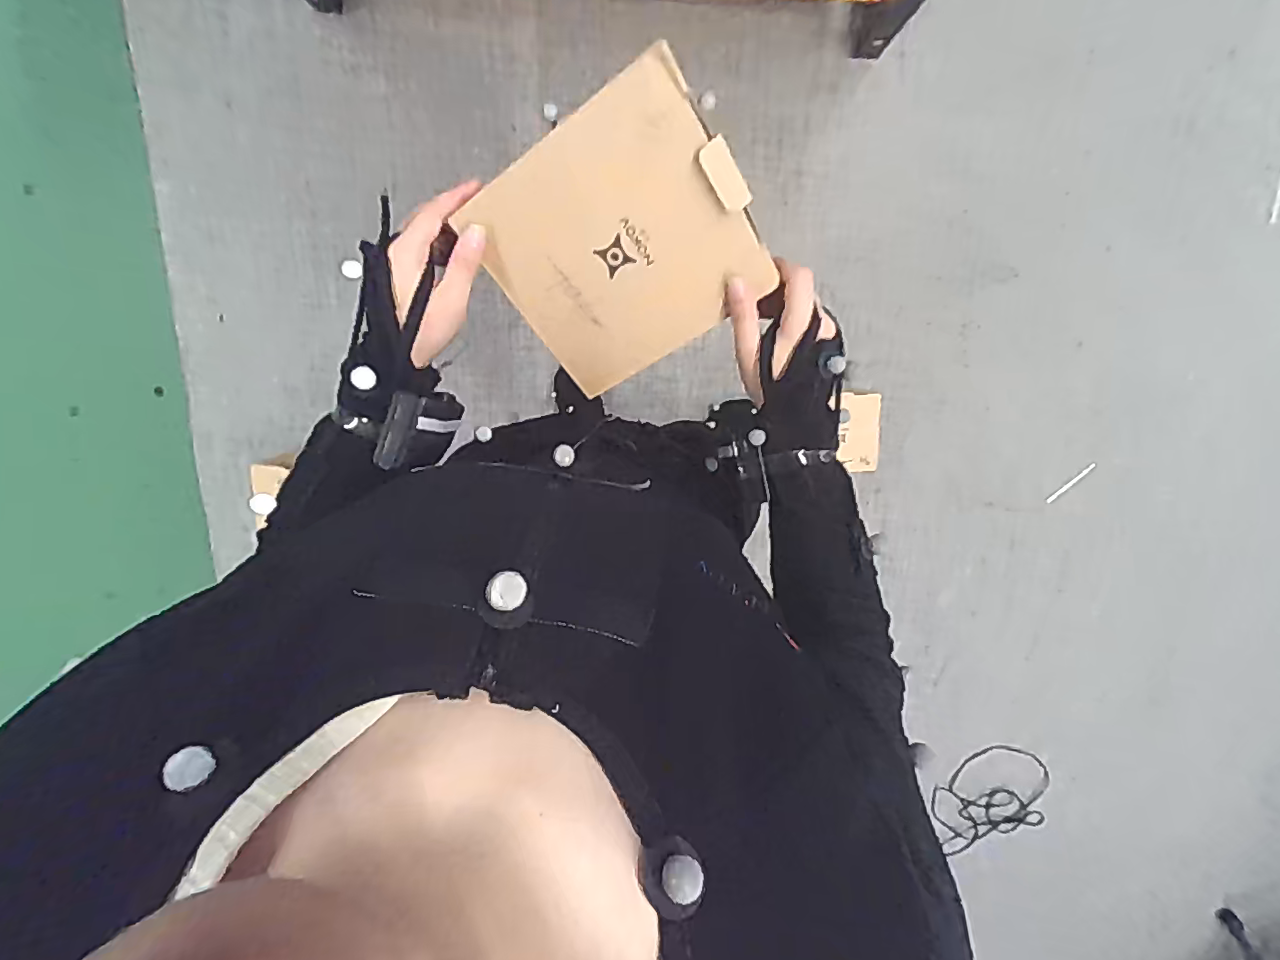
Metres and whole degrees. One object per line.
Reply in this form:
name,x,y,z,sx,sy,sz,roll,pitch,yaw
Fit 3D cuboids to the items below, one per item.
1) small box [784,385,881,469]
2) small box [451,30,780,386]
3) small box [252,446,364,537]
small box,0.440,-0.130,1.259,0.168,0.176,0.179,-2,104,0
small box,-0.013,-0.215,0.439,0.179,0.176,0.168,-28,121,22
small box,-0.783,0.021,1.292,0.168,0.176,0.179,5,105,-1
